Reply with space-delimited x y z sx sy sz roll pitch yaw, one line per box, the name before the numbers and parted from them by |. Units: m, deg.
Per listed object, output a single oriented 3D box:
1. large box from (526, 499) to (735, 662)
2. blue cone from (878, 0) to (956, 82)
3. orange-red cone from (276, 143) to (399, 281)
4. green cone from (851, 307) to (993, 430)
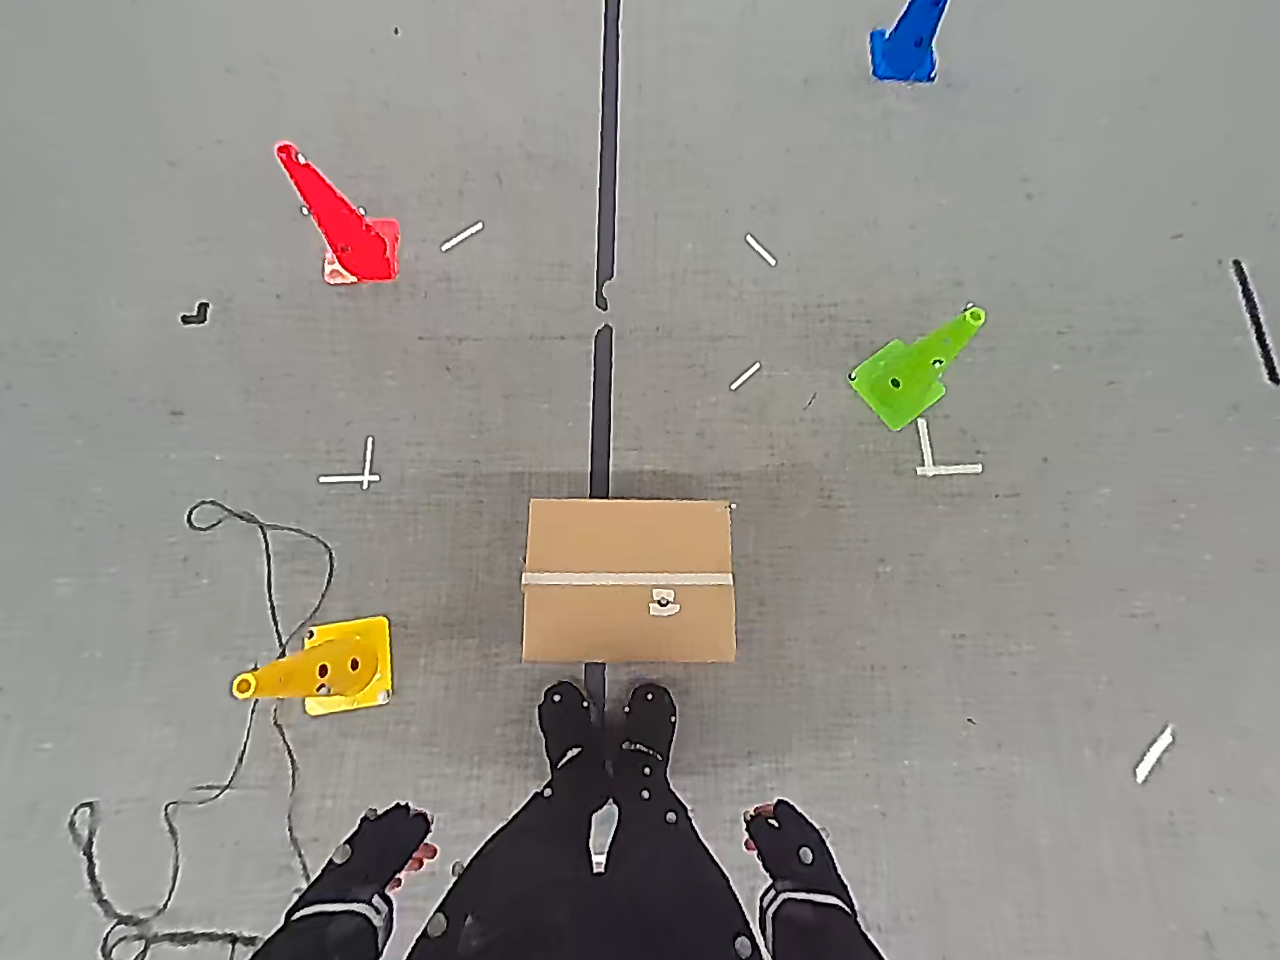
large box | -0.023 0.227 1.197 0.408 0.320 0.320 1 76 -1
blue cone | 0.855 -1.382 1.555 0.192 0.380 0.193 4 77 -1
orange-red cone | -0.783 -0.690 1.363 0.198 0.360 0.199 -2 79 0
green cone | 0.701 -0.294 1.286 0.202 0.368 0.200 -37 81 -10
